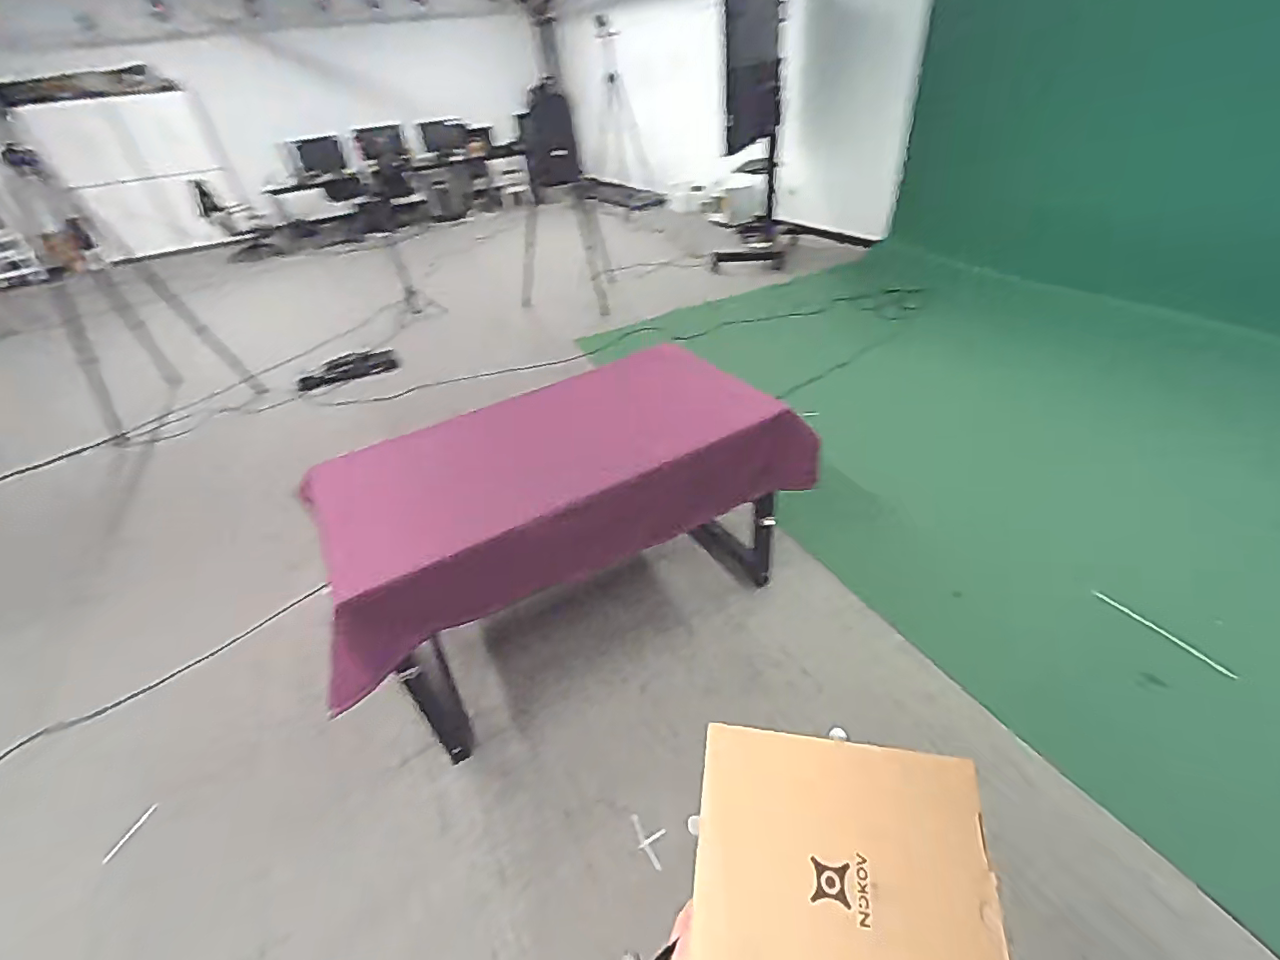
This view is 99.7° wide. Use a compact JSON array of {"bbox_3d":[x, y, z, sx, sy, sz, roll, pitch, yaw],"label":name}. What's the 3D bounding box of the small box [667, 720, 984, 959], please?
[{"bbox_3d":[0.123,0.291,0.393,0.179,0.176,0.168,1,53,13],"label":"small box"}]
